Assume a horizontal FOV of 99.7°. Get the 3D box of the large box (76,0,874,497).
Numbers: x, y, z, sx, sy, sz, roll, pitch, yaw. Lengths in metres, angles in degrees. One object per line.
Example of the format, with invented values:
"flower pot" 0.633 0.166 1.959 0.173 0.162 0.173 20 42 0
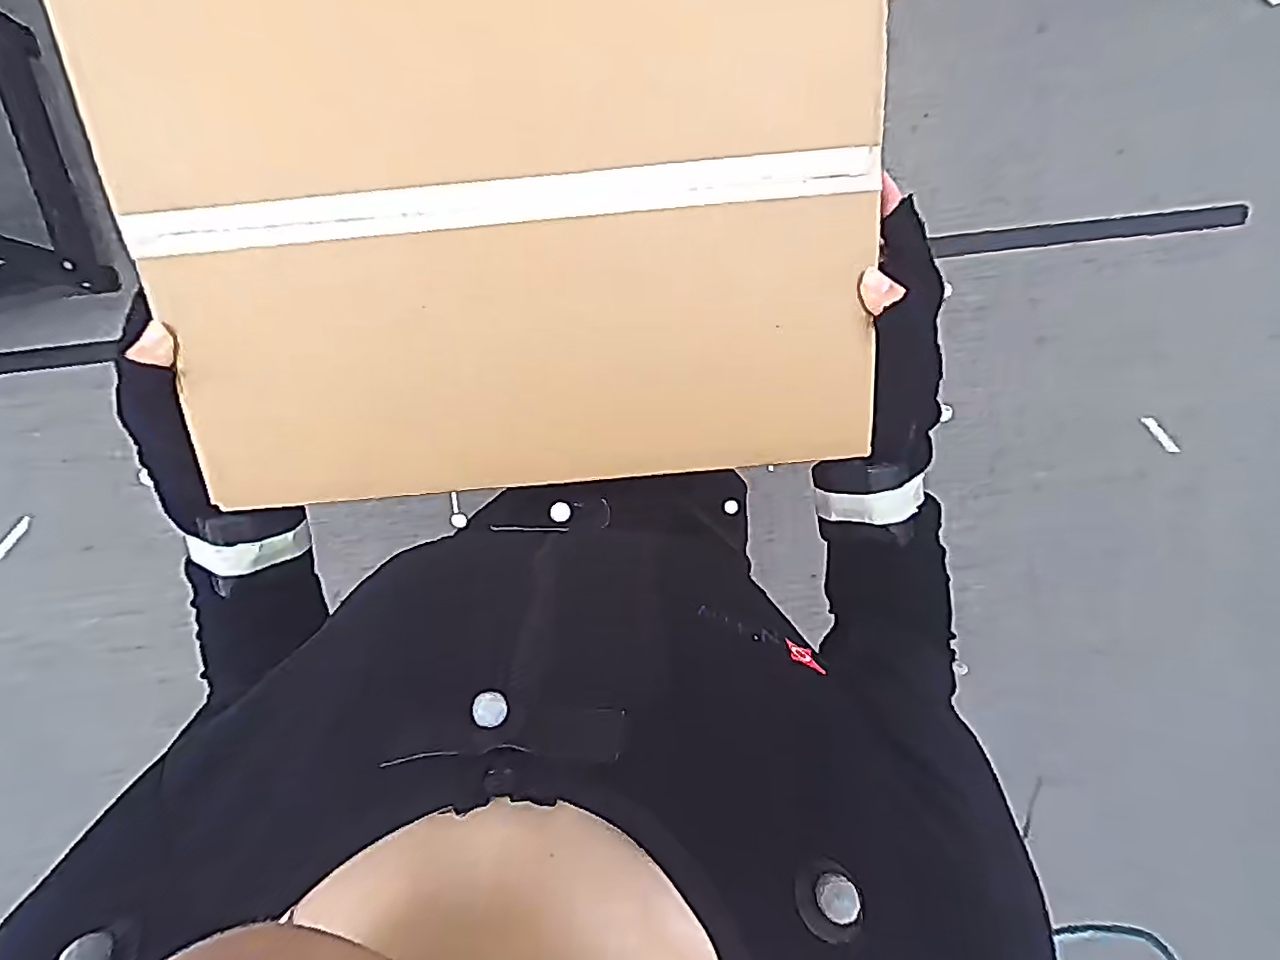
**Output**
"large box" -0.077 -0.196 0.440 0.408 0.320 0.320 -5 108 0
